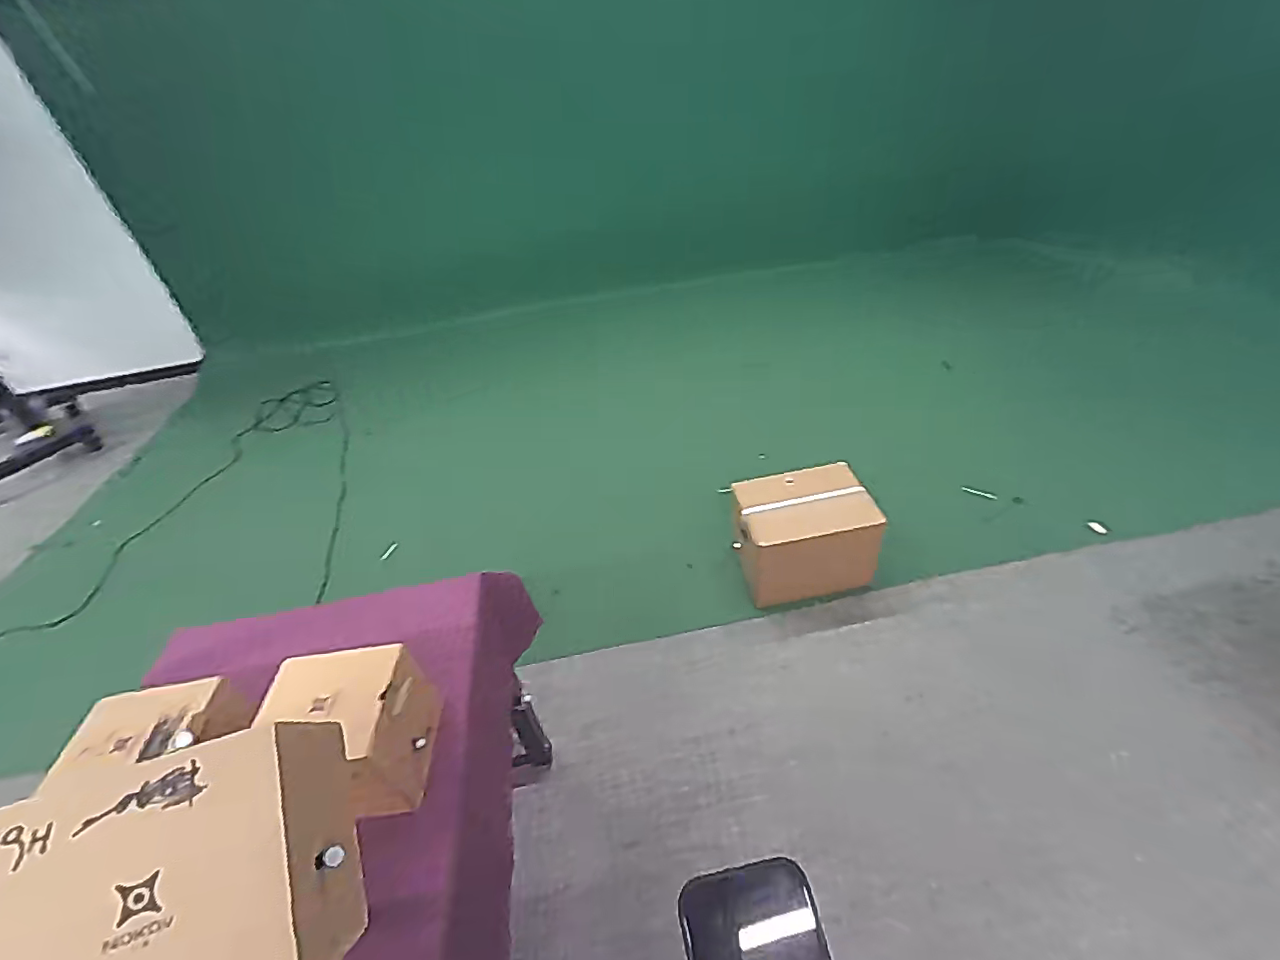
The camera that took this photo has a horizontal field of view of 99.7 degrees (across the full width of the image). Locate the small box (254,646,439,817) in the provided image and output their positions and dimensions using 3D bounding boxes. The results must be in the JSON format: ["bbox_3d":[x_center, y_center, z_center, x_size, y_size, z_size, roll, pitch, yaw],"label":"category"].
[{"bbox_3d":[-0.415,0.365,0.773,0.179,0.176,0.168,-8,39,1],"label":"small box"}]

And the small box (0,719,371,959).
[{"bbox_3d":[-0.318,0.294,0.407,0.168,0.176,0.179,-13,70,-18],"label":"small box"}]
